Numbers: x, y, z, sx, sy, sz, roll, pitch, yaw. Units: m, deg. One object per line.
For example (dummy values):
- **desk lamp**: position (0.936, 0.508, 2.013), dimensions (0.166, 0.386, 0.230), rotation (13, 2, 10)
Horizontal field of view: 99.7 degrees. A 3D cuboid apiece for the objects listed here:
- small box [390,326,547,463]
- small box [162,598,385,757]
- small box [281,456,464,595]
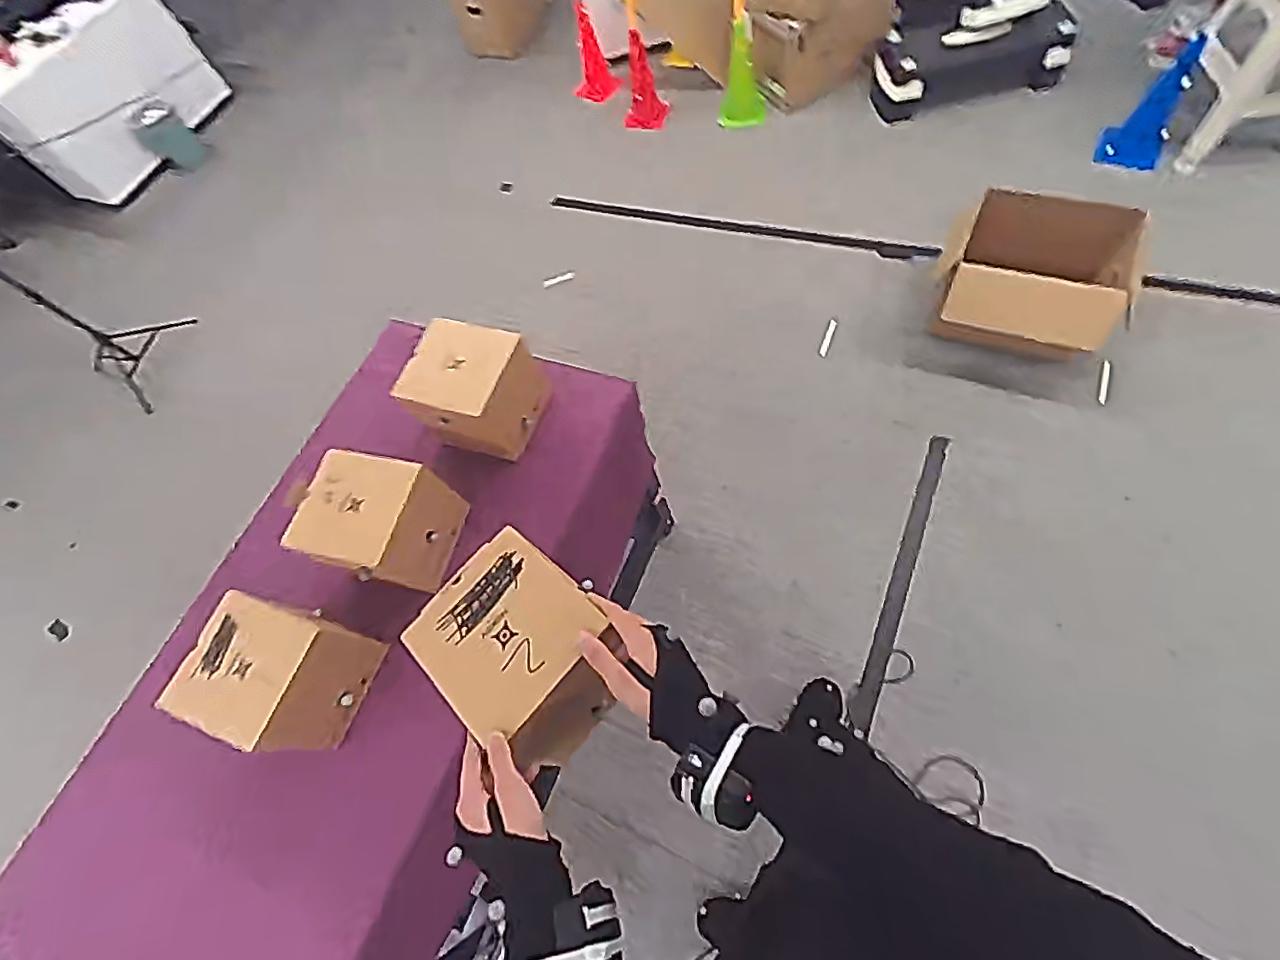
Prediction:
- **small box**: position (-0.295, -0.147, 0.967), dimensions (0.179, 0.176, 0.168), rotation (14, 70, 18)
- **small box**: position (-0.528, 0.296, 0.805), dimensions (0.179, 0.176, 0.168), rotation (14, 69, 16)
- **small box**: position (-0.420, 0.080, 0.884), dimensions (0.179, 0.176, 0.168), rotation (8, 67, 15)
